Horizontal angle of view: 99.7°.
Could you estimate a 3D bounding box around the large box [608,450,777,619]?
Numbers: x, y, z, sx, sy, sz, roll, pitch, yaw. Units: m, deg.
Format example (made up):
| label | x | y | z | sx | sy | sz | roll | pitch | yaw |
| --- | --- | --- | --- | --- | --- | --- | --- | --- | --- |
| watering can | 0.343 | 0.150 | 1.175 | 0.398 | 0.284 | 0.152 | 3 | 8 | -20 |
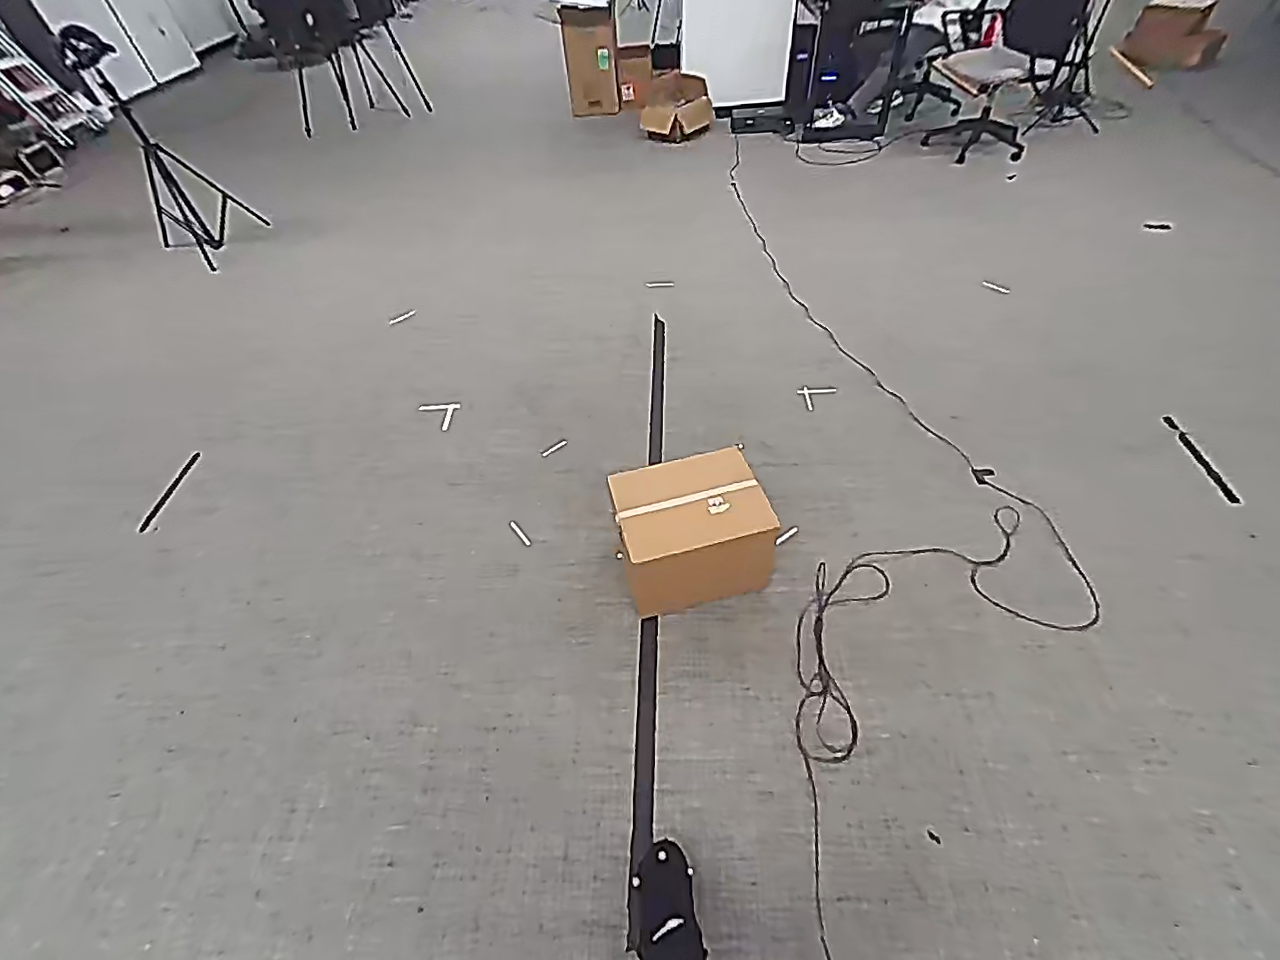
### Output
| label | x | y | z | sx | sy | sz | roll | pitch | yaw |
| --- | --- | --- | --- | --- | --- | --- | --- | --- | --- |
| large box | 0.141 | 0.163 | 1.602 | 0.408 | 0.320 | 0.320 | -13 | 49 | -7 |
